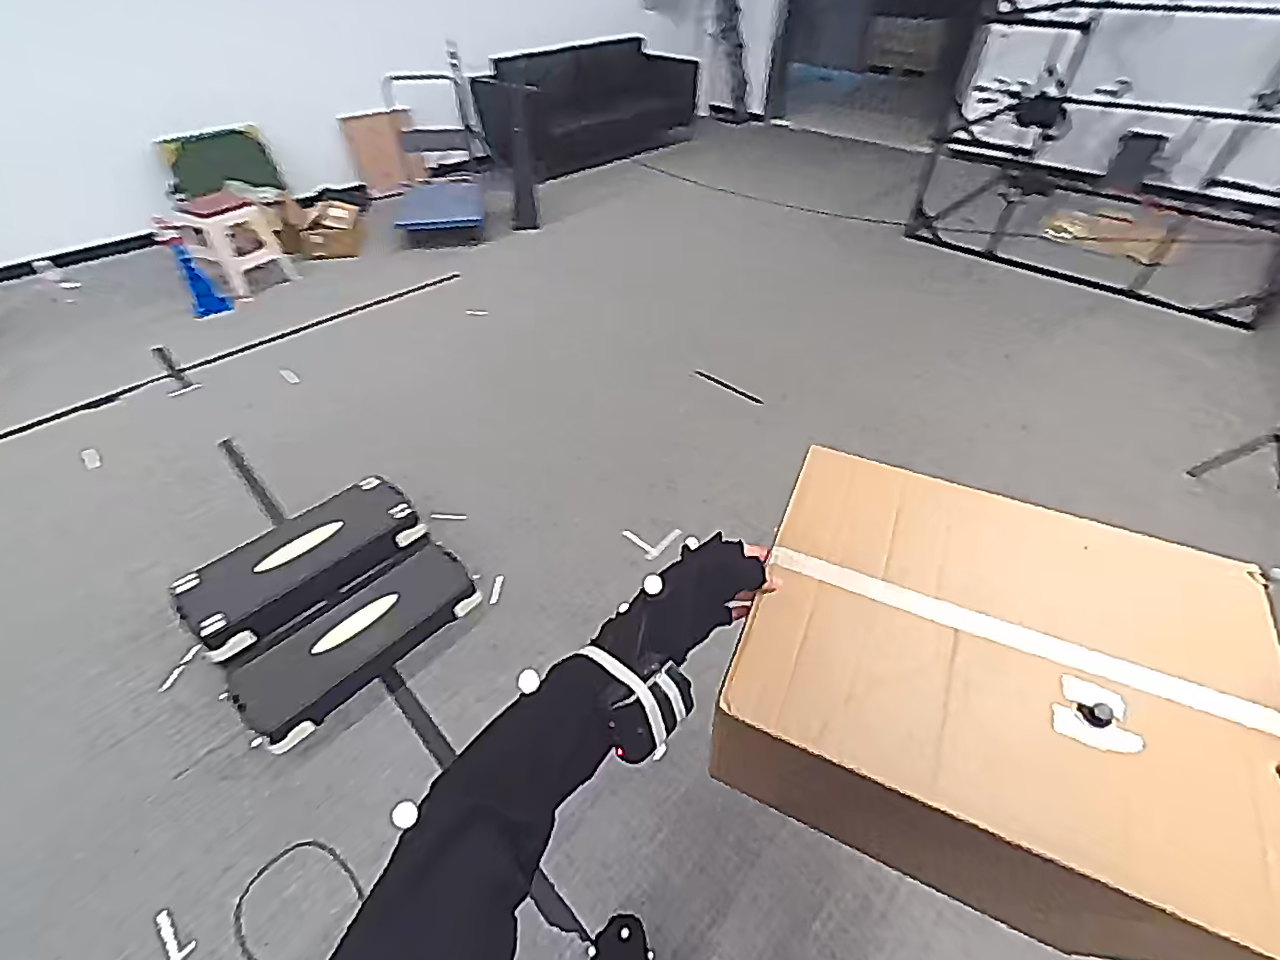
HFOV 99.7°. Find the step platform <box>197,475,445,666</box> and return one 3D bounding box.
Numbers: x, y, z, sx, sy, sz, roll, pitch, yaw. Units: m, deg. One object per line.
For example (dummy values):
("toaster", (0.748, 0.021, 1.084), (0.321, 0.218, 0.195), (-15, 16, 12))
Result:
("step platform", (-1.003, 0.261, 1.752), (0.286, 0.204, 0.684), (32, 51, 29))

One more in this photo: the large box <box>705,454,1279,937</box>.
("large box", (0.310, 0.224, 0.602), (0.408, 0.320, 0.320), (17, 56, 17))
